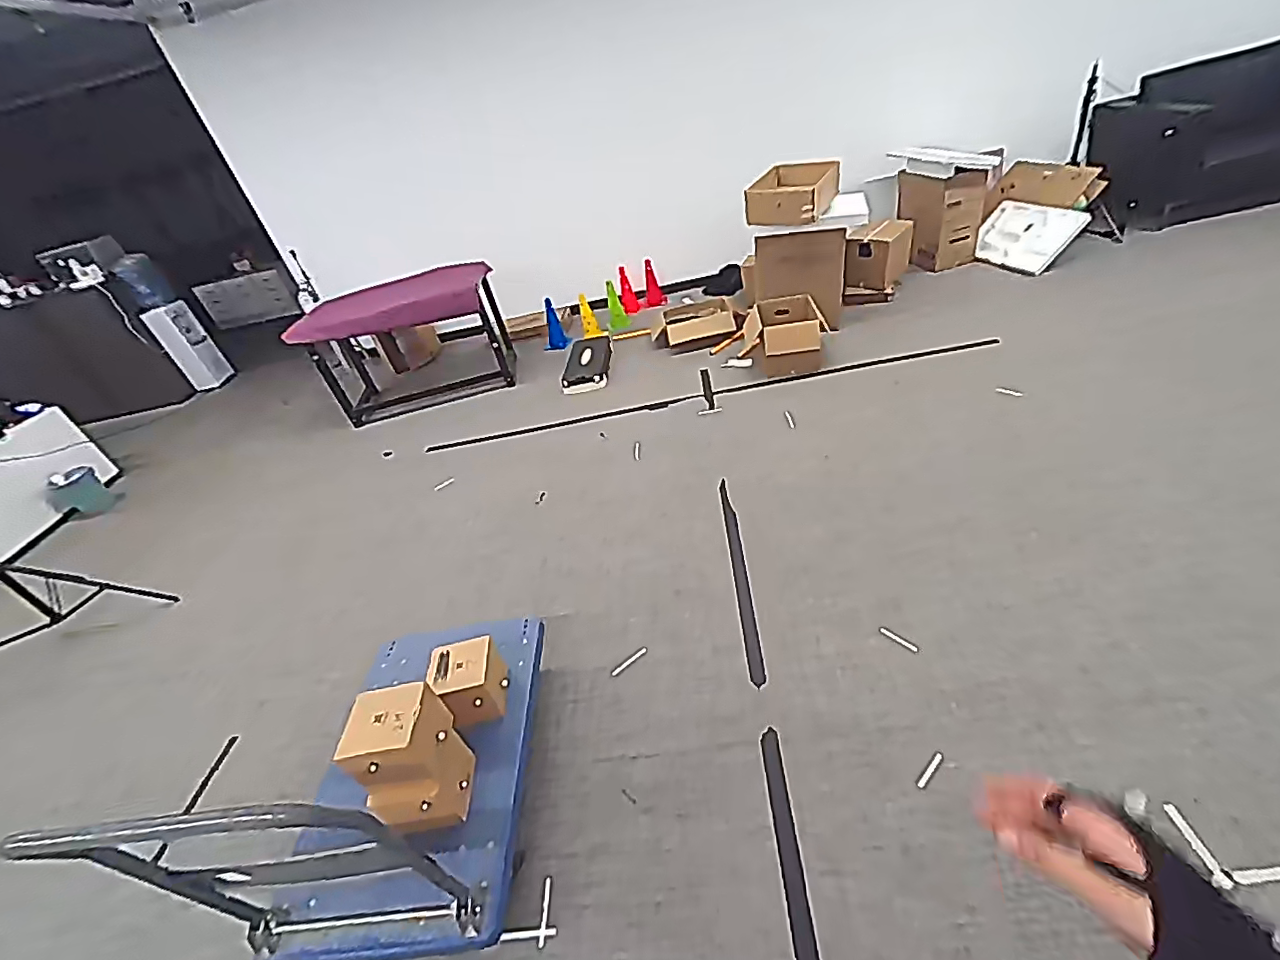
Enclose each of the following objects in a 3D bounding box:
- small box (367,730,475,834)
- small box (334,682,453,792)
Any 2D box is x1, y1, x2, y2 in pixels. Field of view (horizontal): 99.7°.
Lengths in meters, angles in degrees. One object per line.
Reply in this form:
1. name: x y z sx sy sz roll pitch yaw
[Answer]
1. small box: -0.539 0.759 1.359 0.179 0.176 0.168 -12 35 3
2. small box: -0.575 0.614 1.285 0.179 0.176 0.168 -12 36 3
